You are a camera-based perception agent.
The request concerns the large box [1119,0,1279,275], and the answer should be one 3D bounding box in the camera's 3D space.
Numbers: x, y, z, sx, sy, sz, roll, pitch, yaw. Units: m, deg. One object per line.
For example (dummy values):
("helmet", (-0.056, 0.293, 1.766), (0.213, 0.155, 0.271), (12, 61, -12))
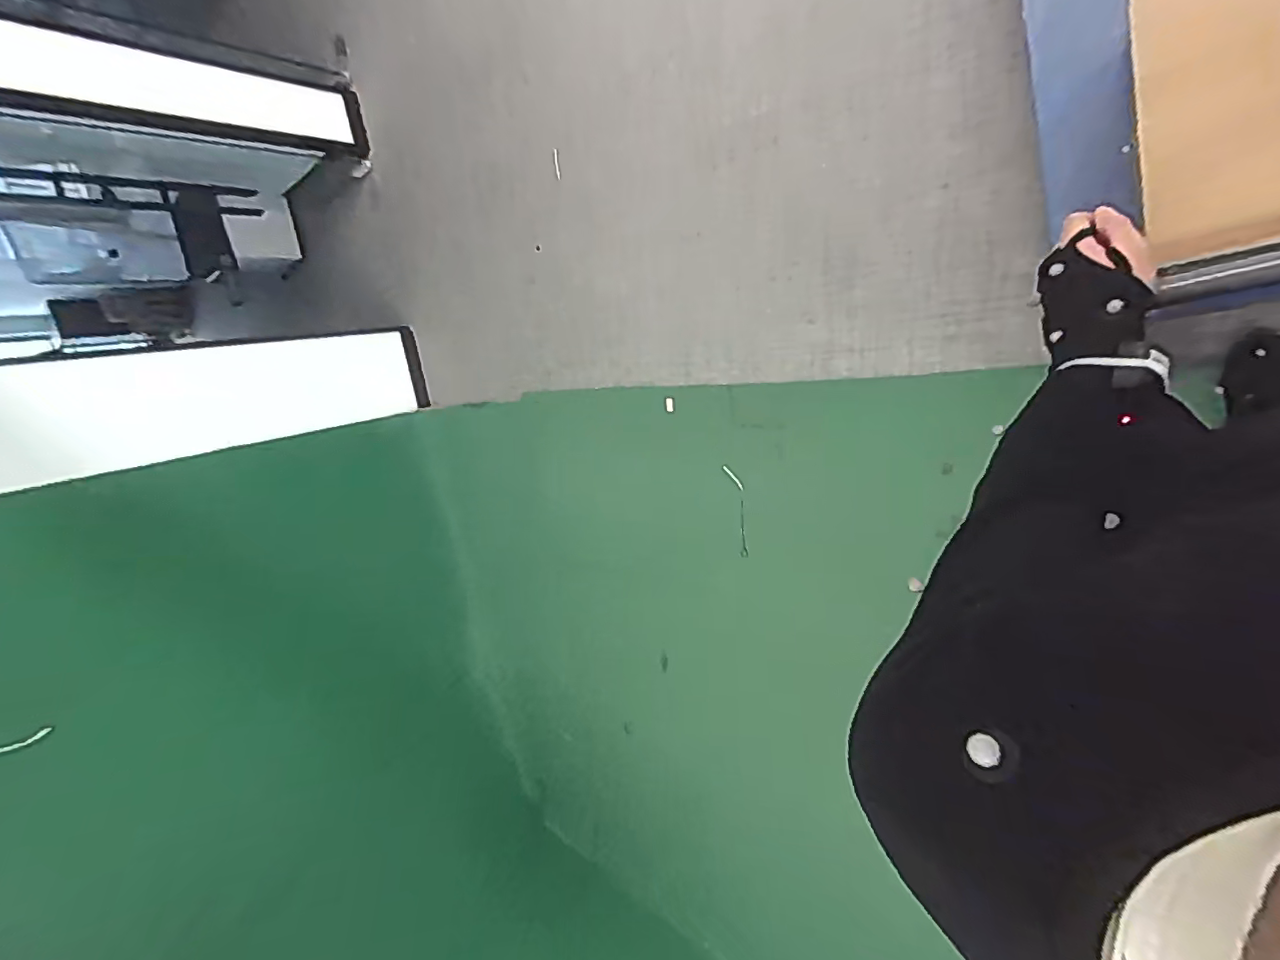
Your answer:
("large box", (0.918, -0.548, 0.778), (0.320, 0.320, 0.408), (-5, 101, 43))
